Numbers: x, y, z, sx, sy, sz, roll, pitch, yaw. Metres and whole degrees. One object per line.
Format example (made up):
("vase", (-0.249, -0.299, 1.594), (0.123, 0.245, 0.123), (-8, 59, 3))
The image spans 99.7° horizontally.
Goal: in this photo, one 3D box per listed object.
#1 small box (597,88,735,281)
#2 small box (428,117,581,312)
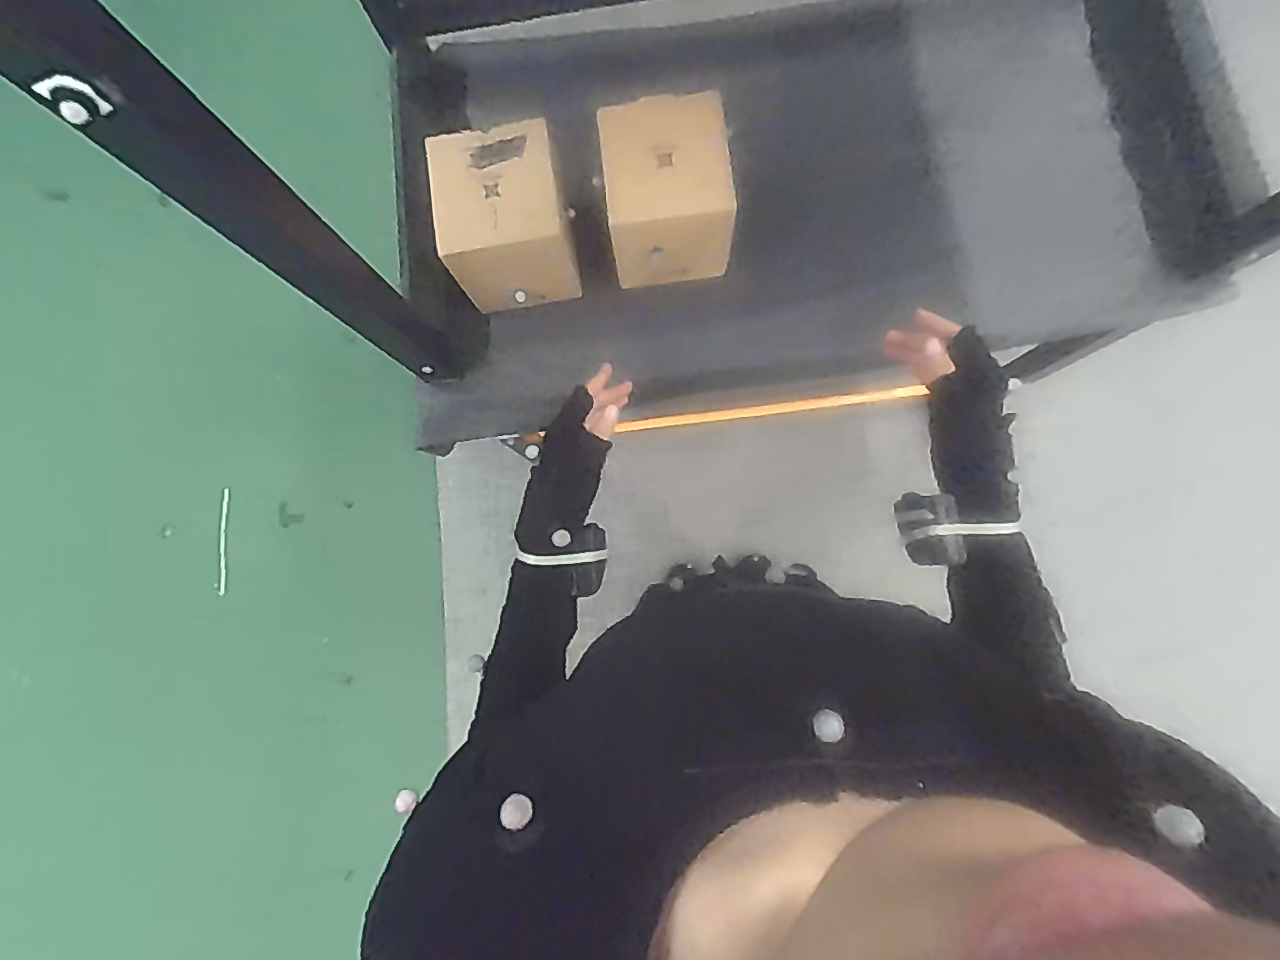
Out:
("small box", (0.038, -0.403, 0.772), (0.168, 0.176, 0.179), (-7, 80, 3))
("small box", (-0.186, -0.371, 0.780), (0.168, 0.176, 0.179), (-9, 80, 3))
